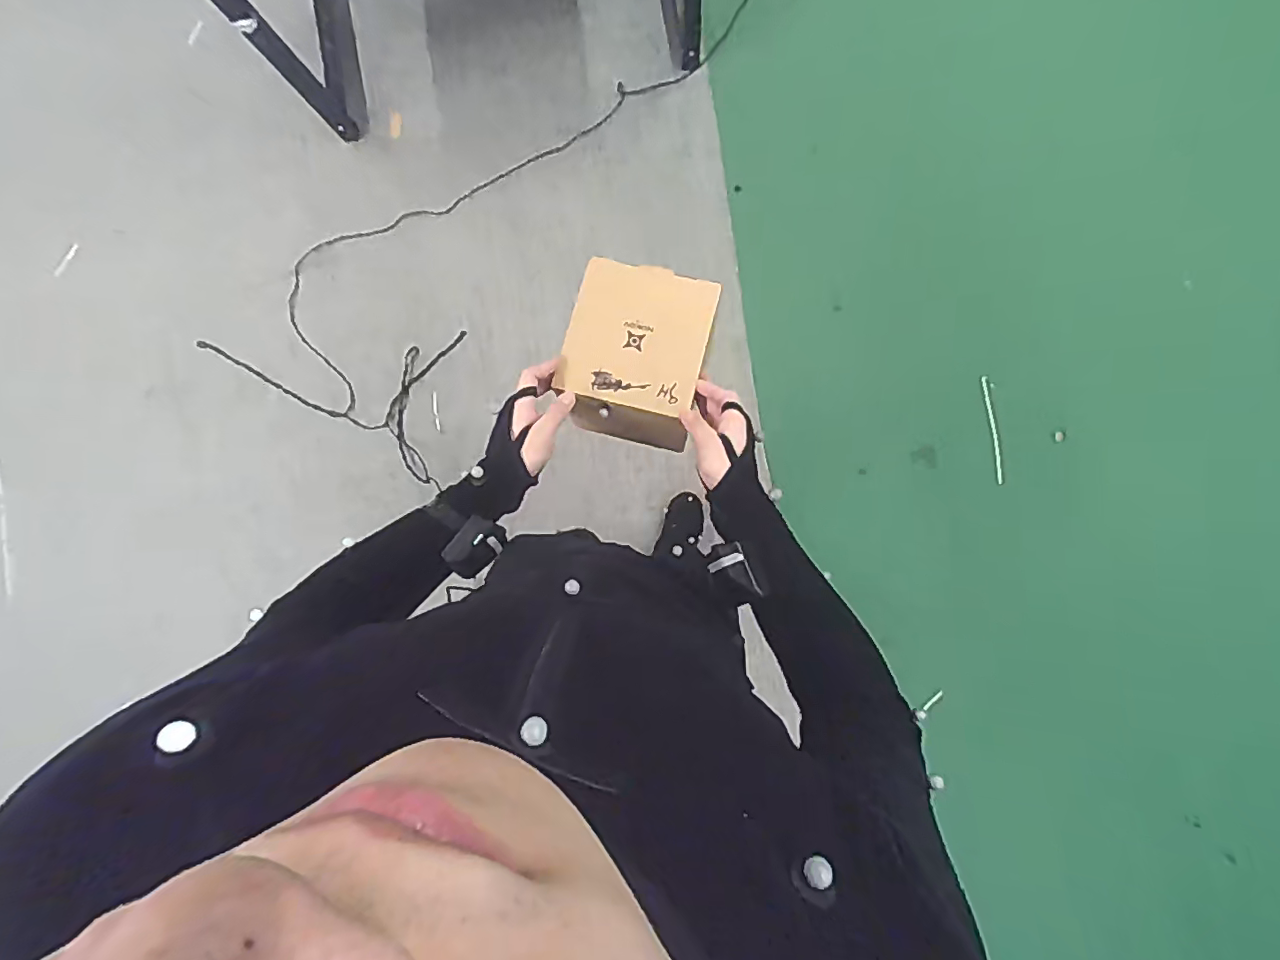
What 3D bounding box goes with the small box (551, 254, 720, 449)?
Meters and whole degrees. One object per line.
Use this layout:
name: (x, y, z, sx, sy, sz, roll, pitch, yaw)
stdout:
small box: (-0.001, -0.158, 0.711, 0.168, 0.176, 0.179, 14, 80, 6)
